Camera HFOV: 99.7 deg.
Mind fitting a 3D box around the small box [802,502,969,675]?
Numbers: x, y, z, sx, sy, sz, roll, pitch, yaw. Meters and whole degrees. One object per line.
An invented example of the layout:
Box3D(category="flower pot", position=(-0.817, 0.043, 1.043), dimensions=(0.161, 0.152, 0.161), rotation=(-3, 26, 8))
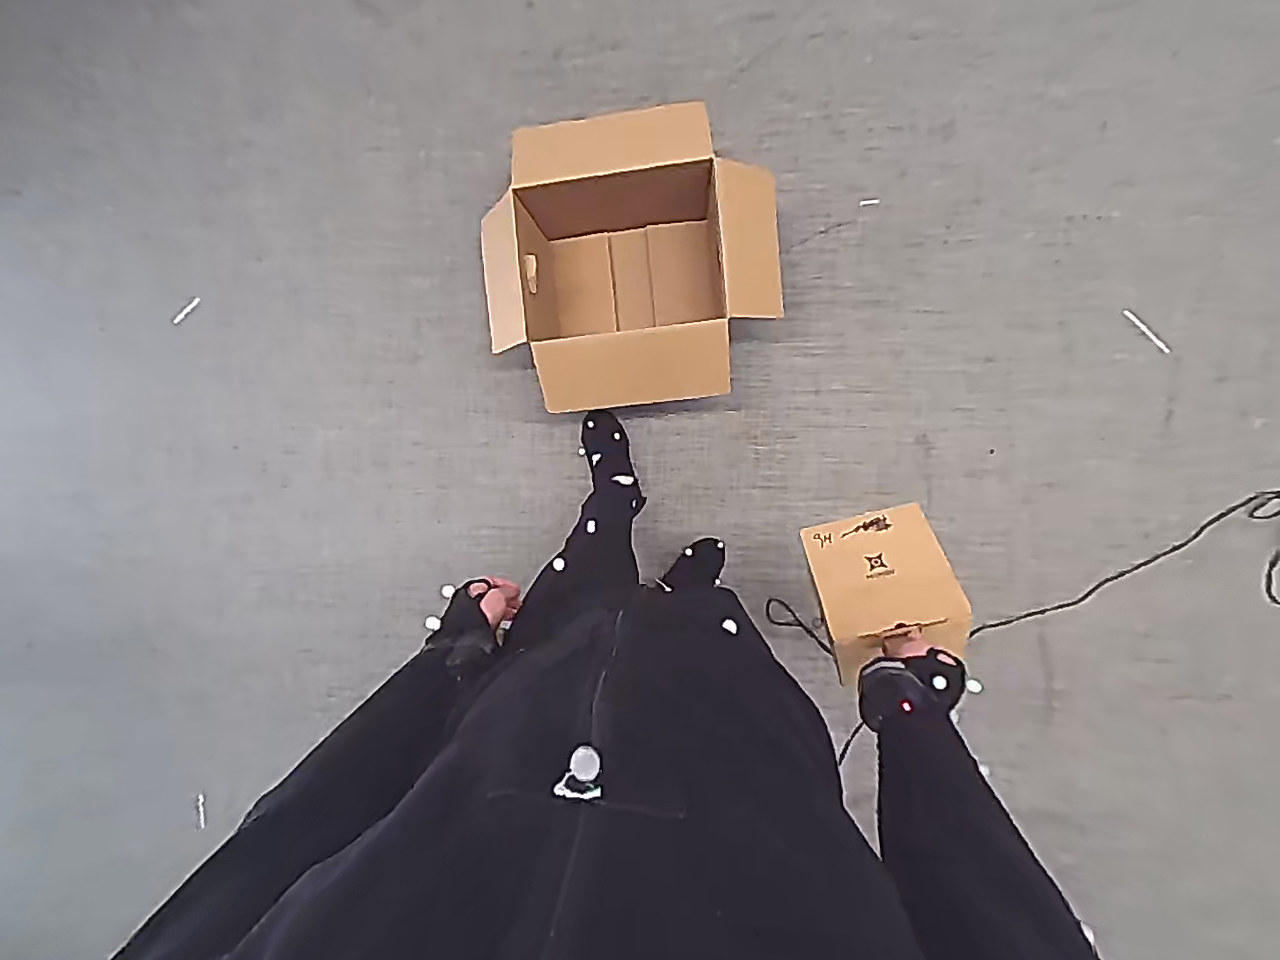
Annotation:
Box3D(category="small box", position=(0.341, 0.162, 0.768), dimensions=(0.168, 0.179, 0.176), rotation=(-14, 137, 14))
